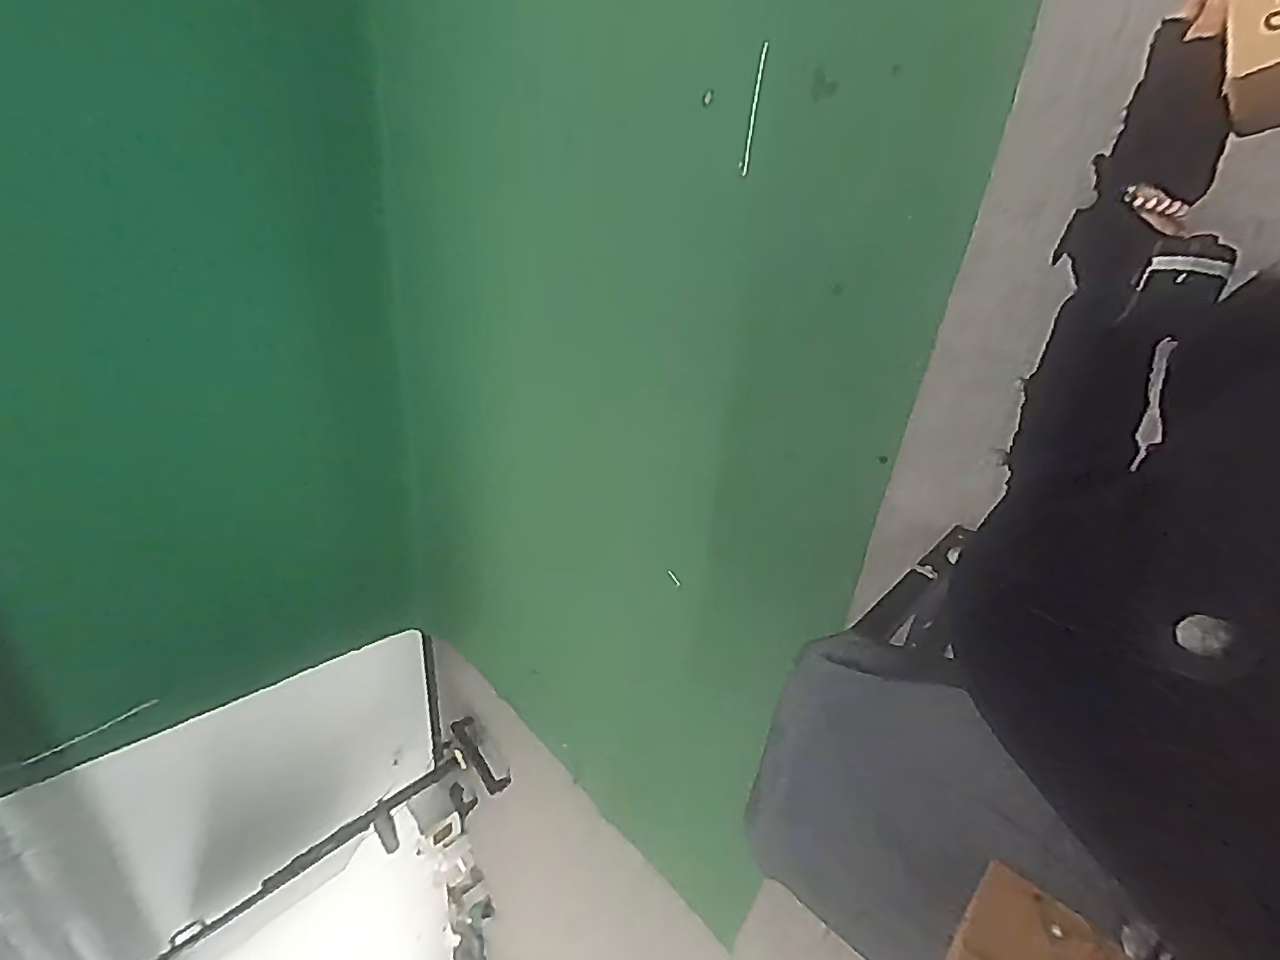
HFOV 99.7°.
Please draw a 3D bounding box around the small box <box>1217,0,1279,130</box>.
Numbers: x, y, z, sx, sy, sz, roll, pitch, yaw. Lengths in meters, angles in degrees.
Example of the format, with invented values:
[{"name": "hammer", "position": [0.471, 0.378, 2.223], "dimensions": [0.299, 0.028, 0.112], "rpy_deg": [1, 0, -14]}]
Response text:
[{"name": "small box", "position": [0.444, -0.329, 0.293], "dimensions": [0.179, 0.176, 0.168], "rpy_deg": [1, 101, 49]}]
